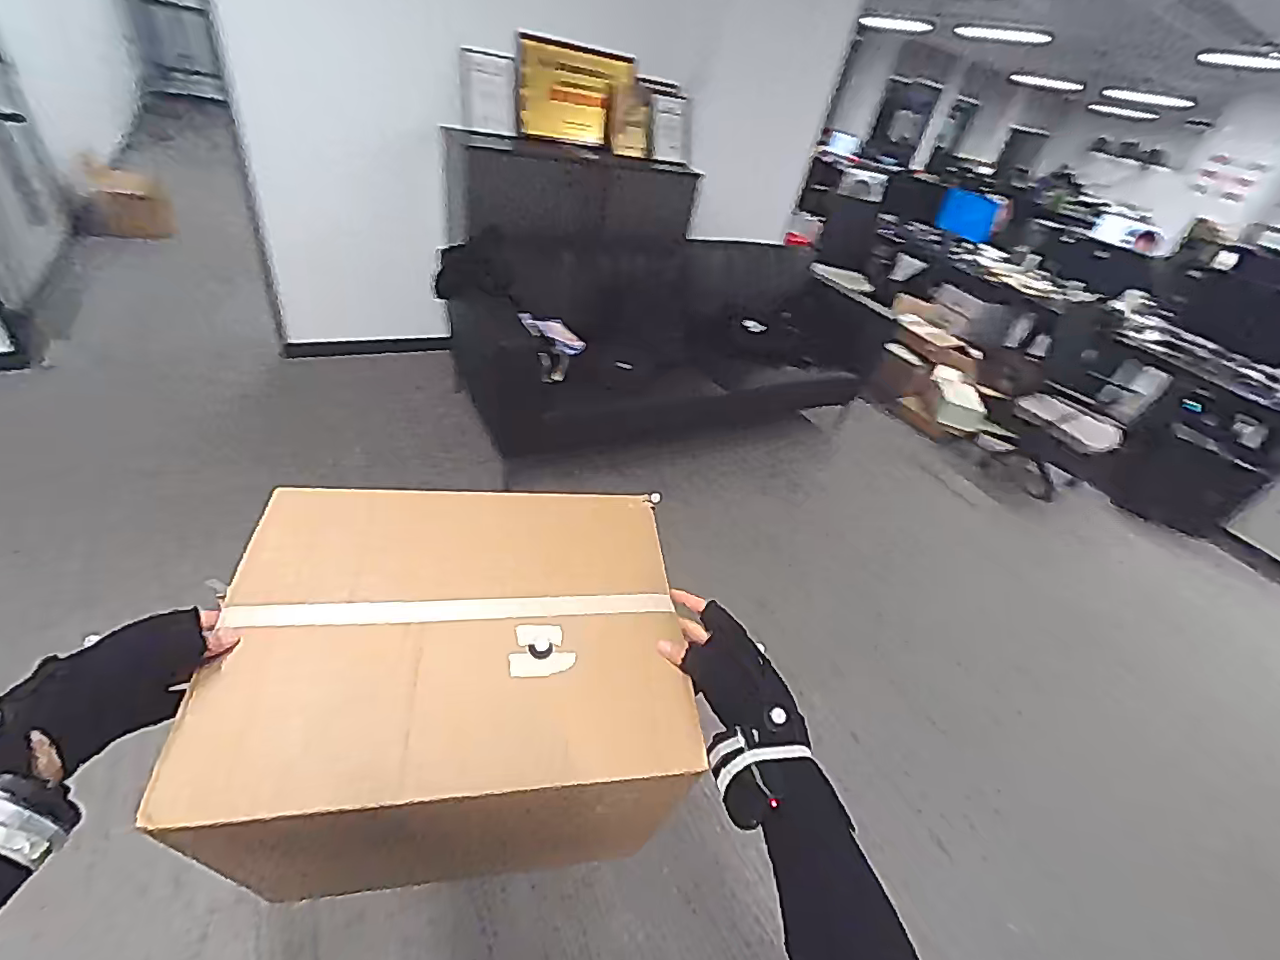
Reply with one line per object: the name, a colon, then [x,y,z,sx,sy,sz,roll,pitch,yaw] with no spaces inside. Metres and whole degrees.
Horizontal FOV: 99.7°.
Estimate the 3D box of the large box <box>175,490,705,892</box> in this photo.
large box: [-0.189,0.227,0.624,0.408,0.320,0.320,1,46,-15]
